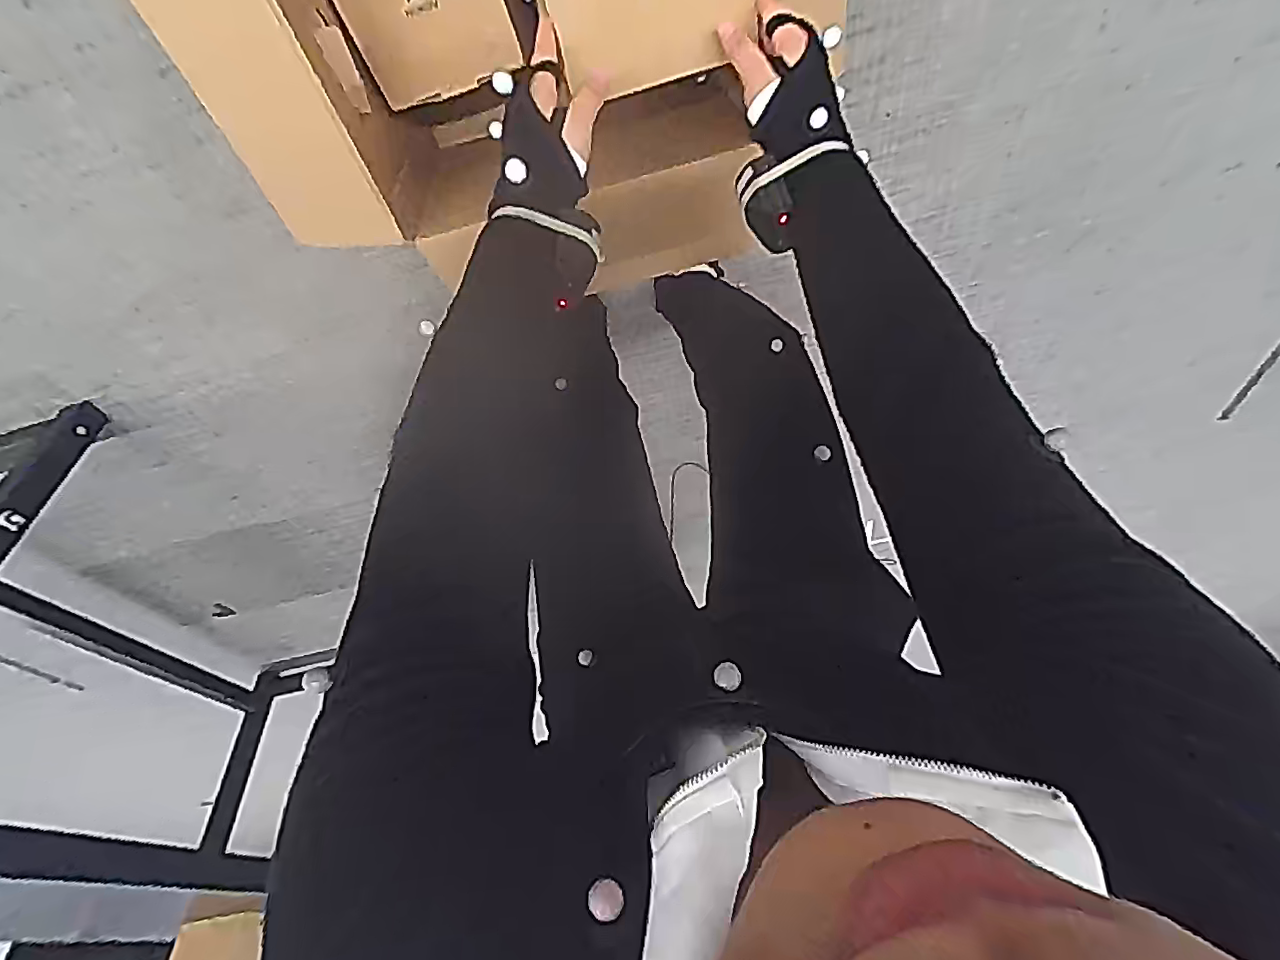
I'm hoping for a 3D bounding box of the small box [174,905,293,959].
[{"bbox_3d":[-0.977,1.139,1.290,0.179,0.176,0.168,-16,139,6],"label":"small box"}]
